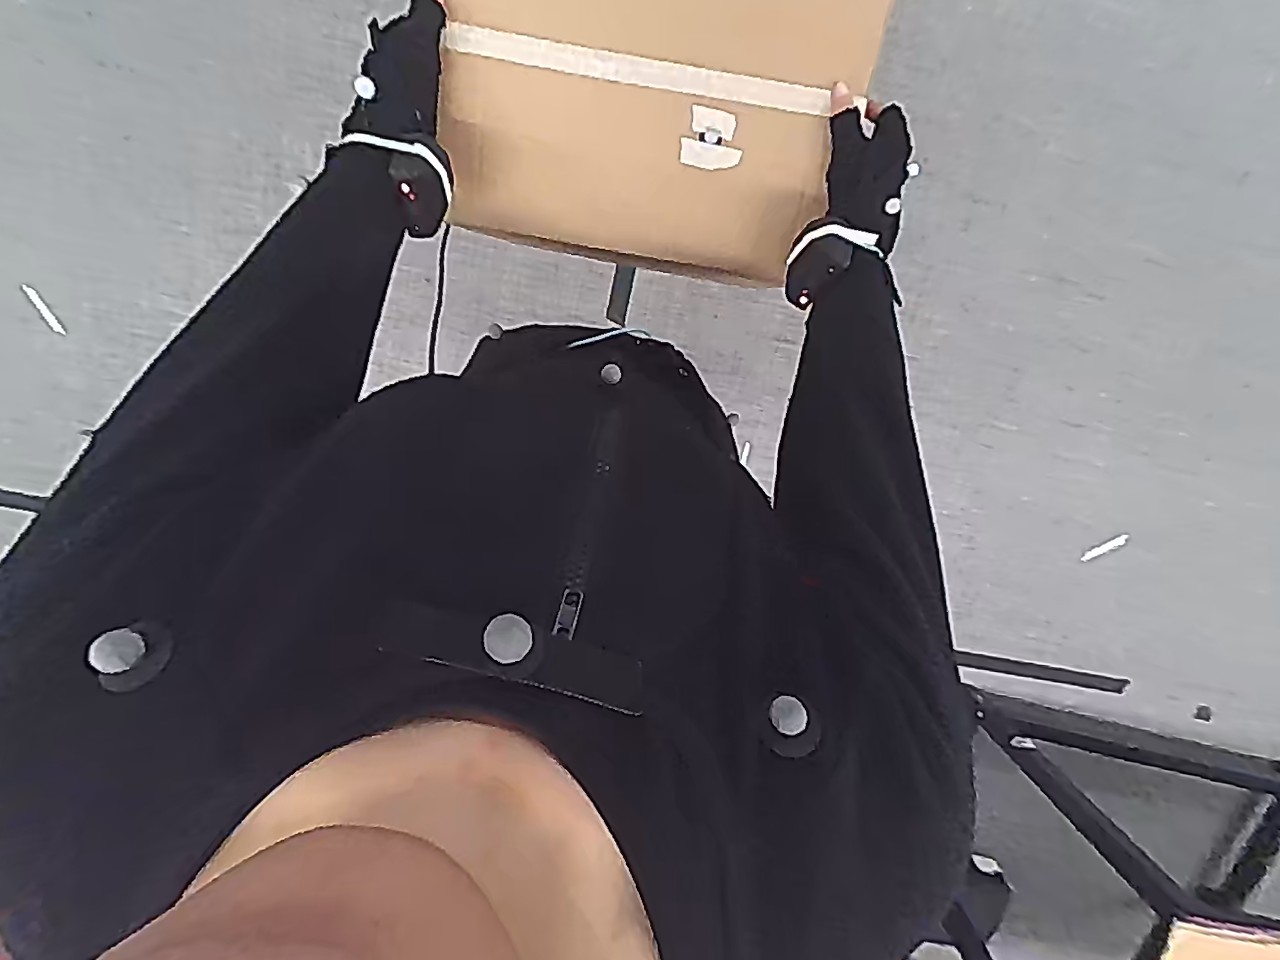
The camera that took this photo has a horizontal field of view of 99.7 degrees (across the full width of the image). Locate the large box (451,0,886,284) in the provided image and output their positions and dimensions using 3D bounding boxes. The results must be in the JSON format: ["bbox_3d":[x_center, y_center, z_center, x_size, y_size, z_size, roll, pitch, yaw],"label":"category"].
[{"bbox_3d":[0.018,-0.433,0.664,0.408,0.320,0.320,9,110,-2],"label":"large box"}]
